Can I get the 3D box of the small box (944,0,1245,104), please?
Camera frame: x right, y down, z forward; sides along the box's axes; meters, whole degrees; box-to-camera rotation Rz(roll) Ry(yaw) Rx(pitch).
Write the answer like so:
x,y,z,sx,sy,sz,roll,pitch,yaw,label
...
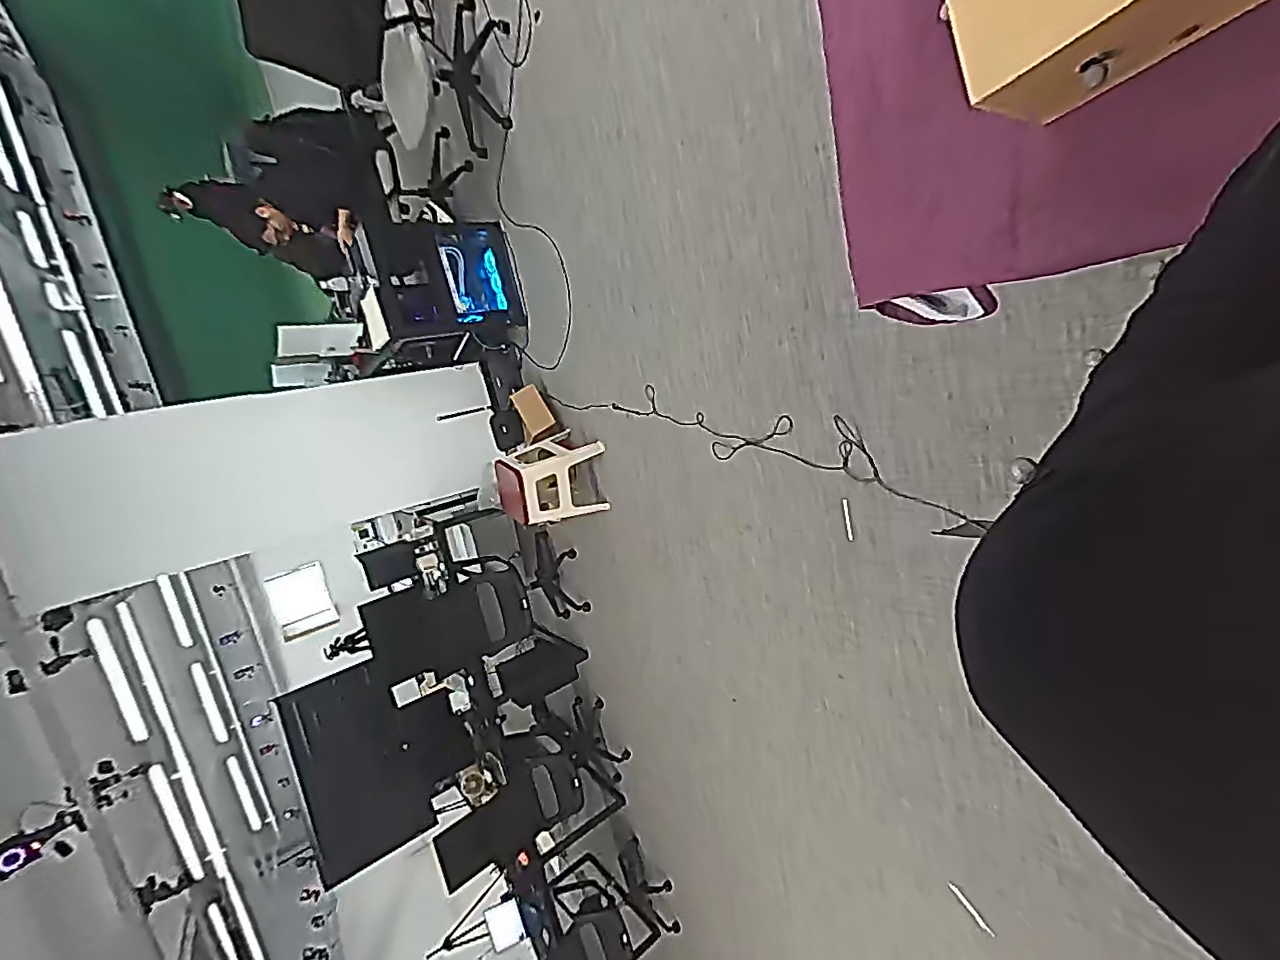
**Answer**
x,y,z,sx,sy,sz,roll,pitch,yaw,label
0.347,-0.416,0.402,0.168,0.176,0.179,-12,95,57,small box
